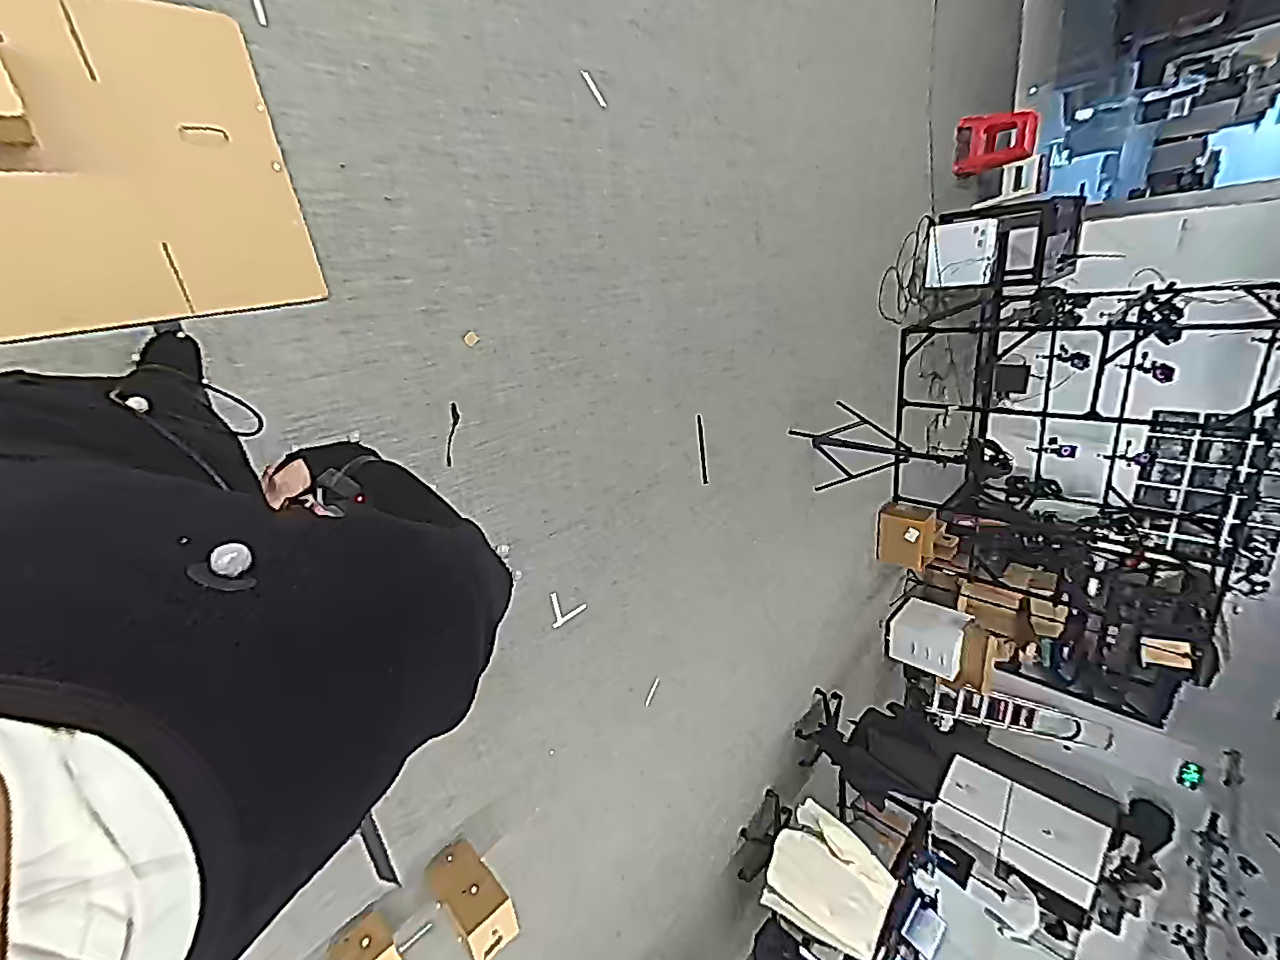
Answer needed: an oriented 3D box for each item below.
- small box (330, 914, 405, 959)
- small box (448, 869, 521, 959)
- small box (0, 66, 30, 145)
[{"bbox_3d":[-0.888,1.591,1.780,0.168,0.176,0.179,-28,119,-38],"label":"small box"},{"bbox_3d":[-0.539,1.514,1.874,0.168,0.176,0.179,-24,115,-40],"label":"small box"},{"bbox_3d":[-1.175,-0.680,0.896,0.168,0.176,0.179,-27,118,-37],"label":"small box"}]
